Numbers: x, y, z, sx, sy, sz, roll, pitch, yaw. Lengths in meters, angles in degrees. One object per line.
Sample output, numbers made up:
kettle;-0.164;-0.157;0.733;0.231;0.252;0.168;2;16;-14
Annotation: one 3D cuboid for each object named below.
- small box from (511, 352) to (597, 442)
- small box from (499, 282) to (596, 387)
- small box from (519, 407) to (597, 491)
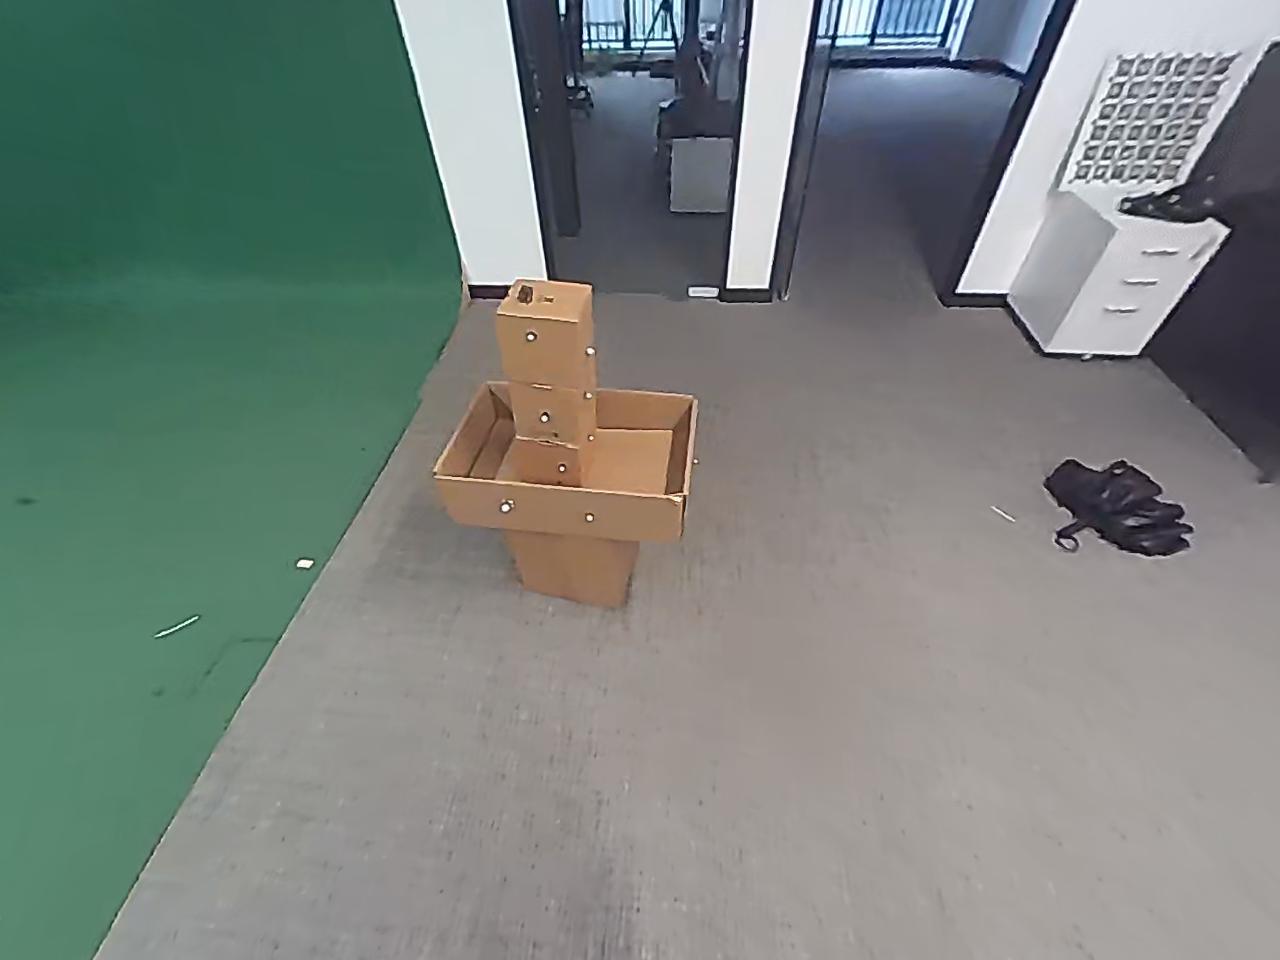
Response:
small box;-0.204;-0.214;1.347;0.168;0.176;0.179;8;47;5
small box;-0.201;-0.328;1.227;0.179;0.176;0.168;7;46;3
small box;-0.211;-0.092;1.456;0.168;0.176;0.179;9;44;5
